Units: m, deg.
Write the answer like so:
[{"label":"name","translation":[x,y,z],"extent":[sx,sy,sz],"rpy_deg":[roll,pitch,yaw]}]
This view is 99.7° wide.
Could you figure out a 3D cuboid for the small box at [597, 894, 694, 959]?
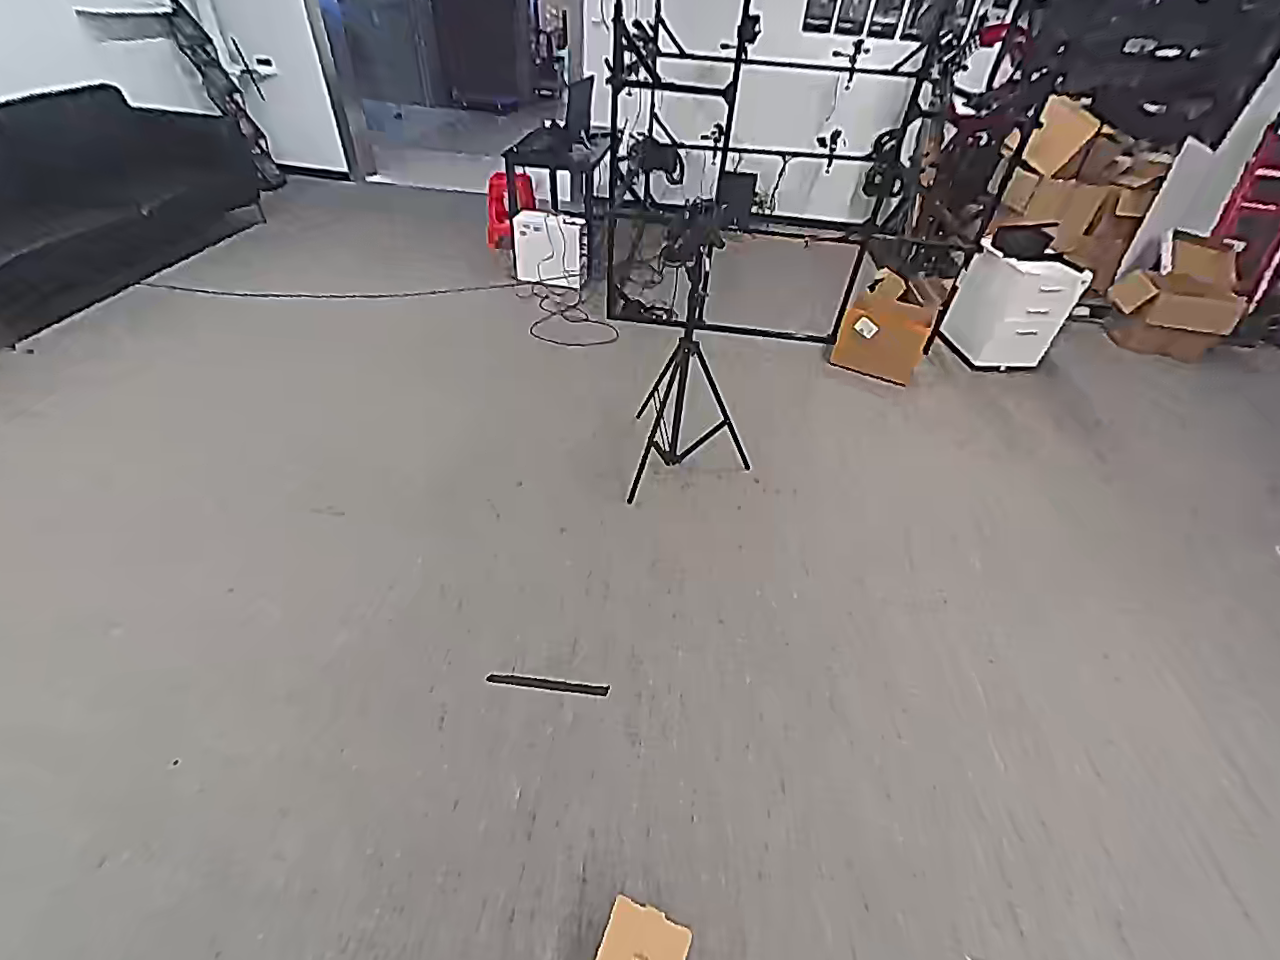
[{"label":"small box","translation":[-0.005,0.991,1.091],"extent":[0.168,0.176,0.179],"rpy_deg":[18,43,13]}]
